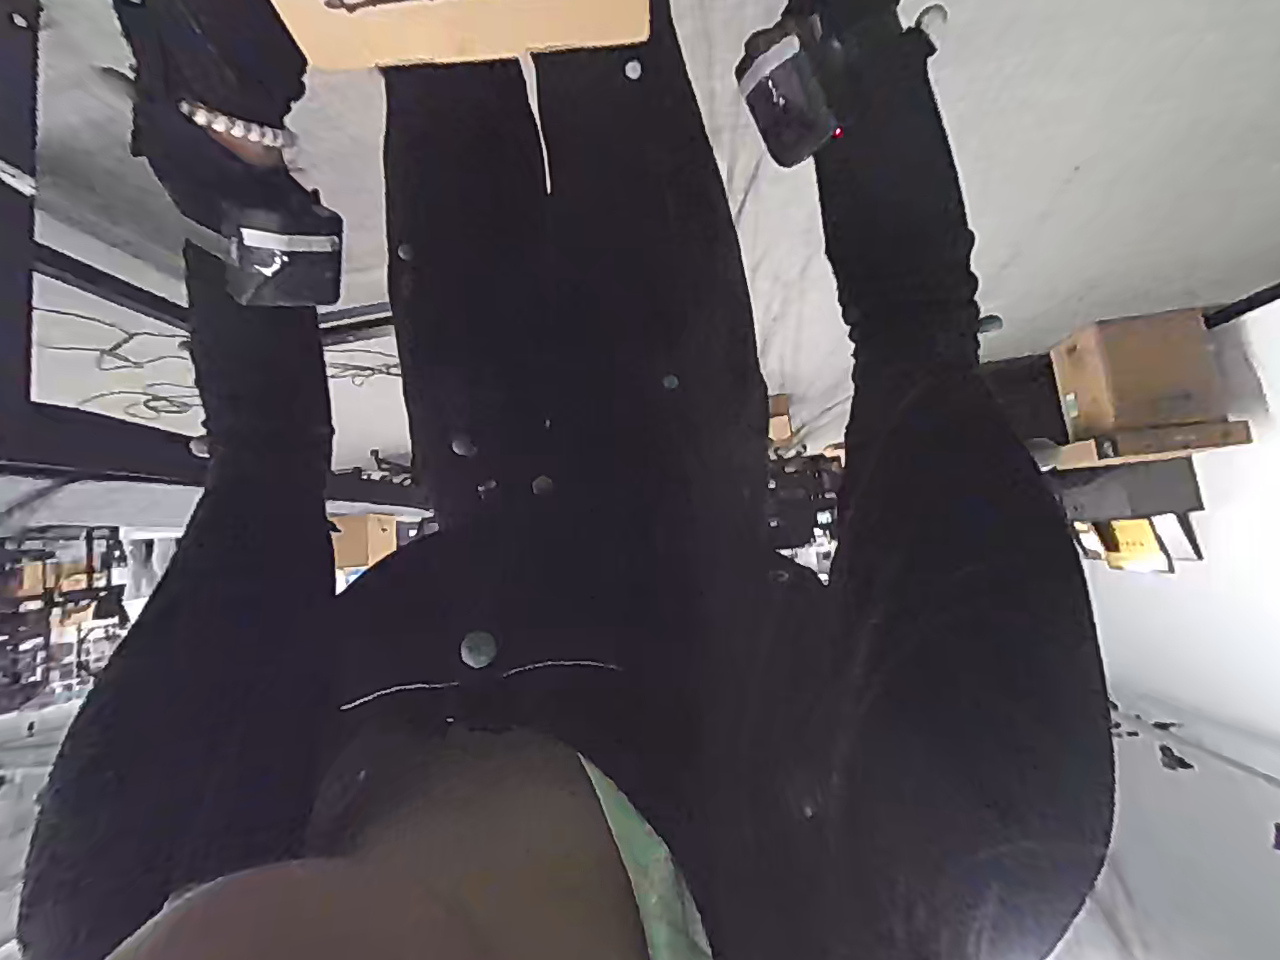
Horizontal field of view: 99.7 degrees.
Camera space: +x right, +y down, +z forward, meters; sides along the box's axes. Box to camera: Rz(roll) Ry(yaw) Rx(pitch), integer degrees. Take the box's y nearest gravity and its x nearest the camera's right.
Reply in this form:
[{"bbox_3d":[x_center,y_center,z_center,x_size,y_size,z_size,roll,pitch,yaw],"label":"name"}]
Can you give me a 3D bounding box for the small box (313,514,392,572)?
[{"bbox_3d":[-0.930,0.207,1.764,0.179,0.176,0.168,-6,172,4],"label":"small box"}]
